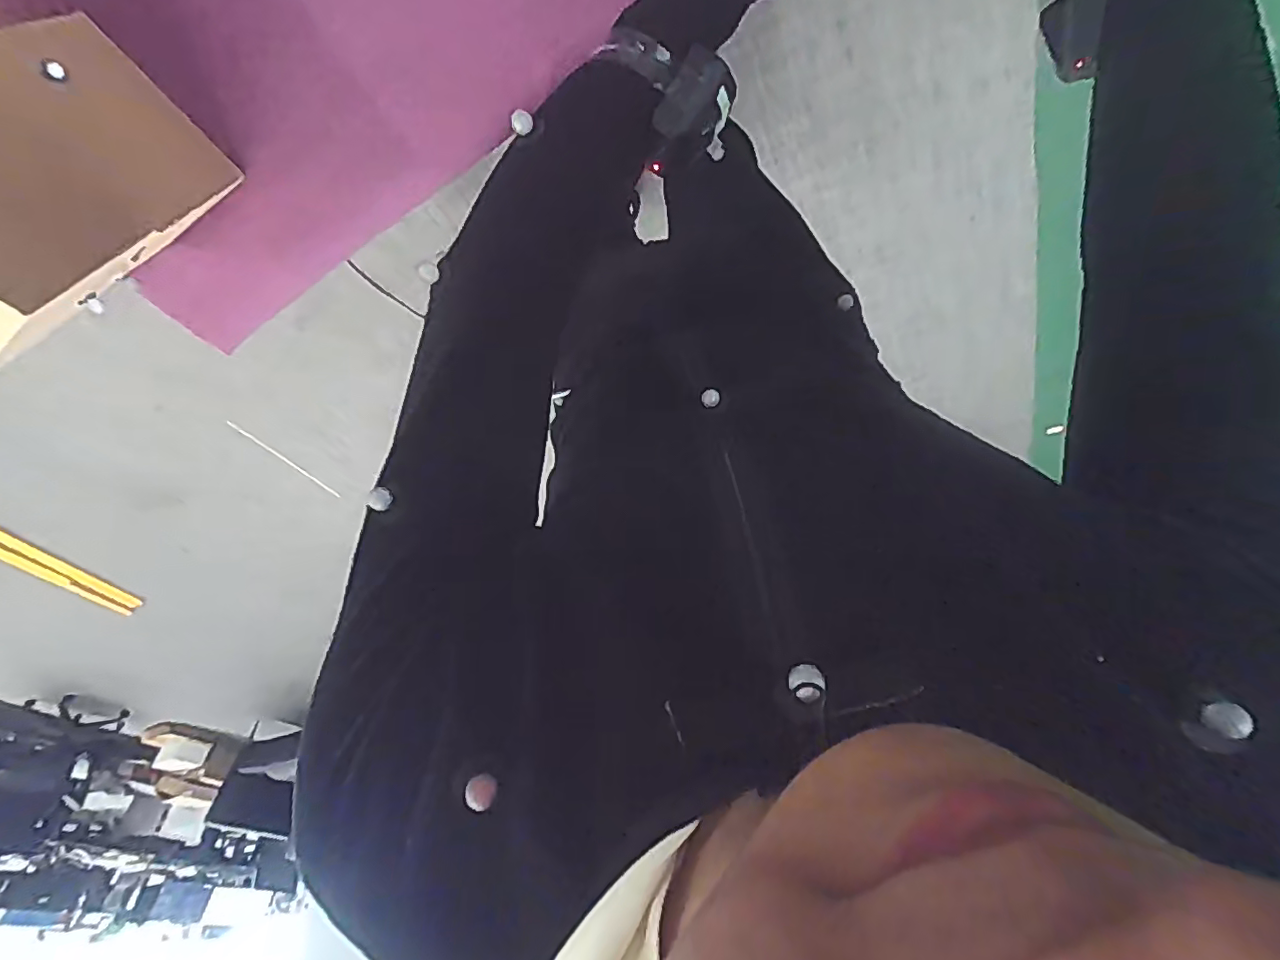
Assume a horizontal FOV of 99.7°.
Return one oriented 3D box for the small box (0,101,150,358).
[{"bbox_3d":[-0.591,-0.214,0.456,0.168,0.176,0.179,-22,133,23],"label":"small box"}]
